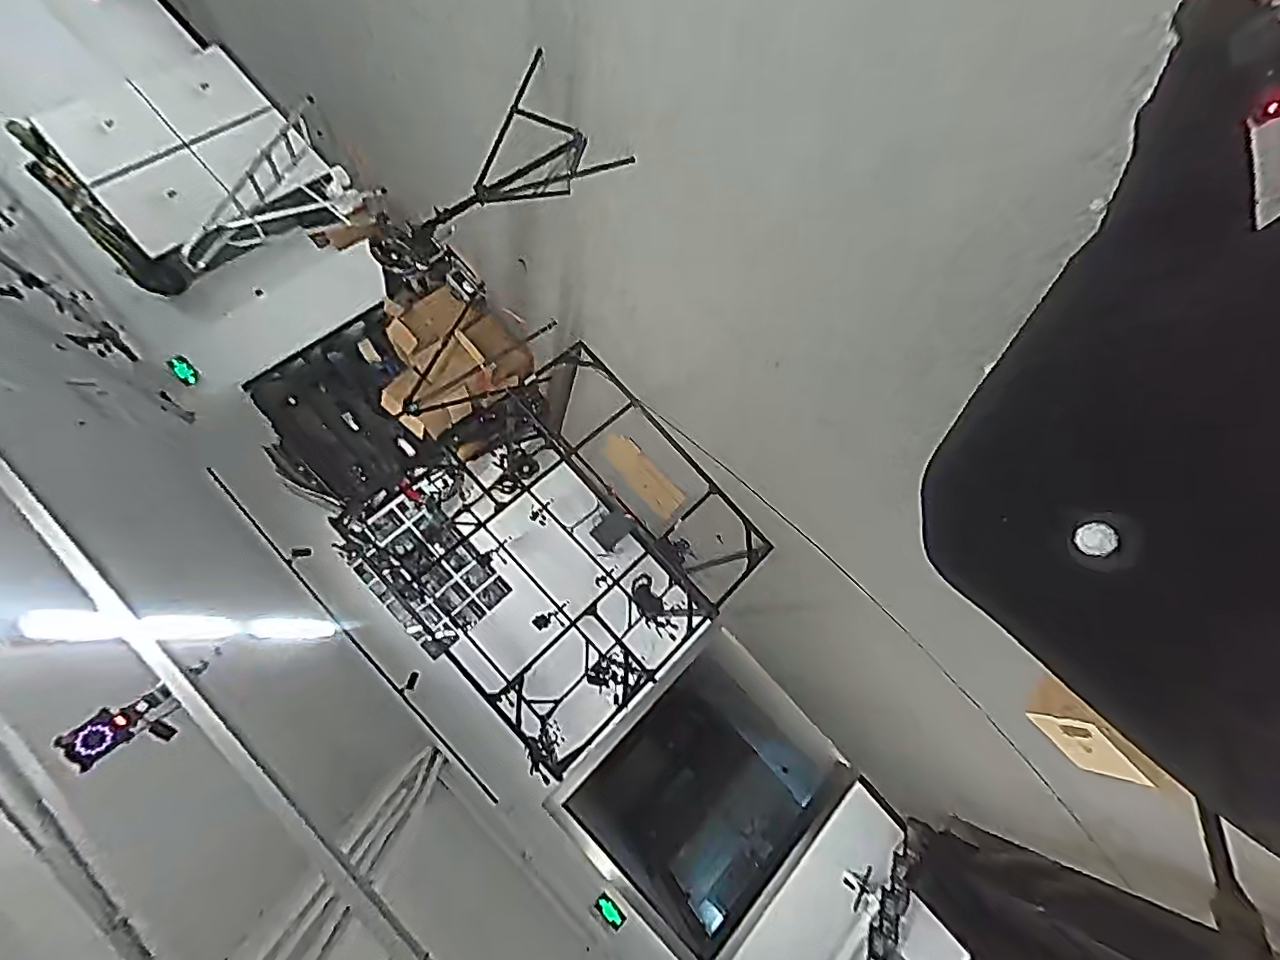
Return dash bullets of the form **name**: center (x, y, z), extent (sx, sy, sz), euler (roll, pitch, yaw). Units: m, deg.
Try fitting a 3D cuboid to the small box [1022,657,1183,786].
- **small box**: center (0.985, 0.503, 1.156), extent (0.179, 0.176, 0.168), euler (45, 162, 3)
